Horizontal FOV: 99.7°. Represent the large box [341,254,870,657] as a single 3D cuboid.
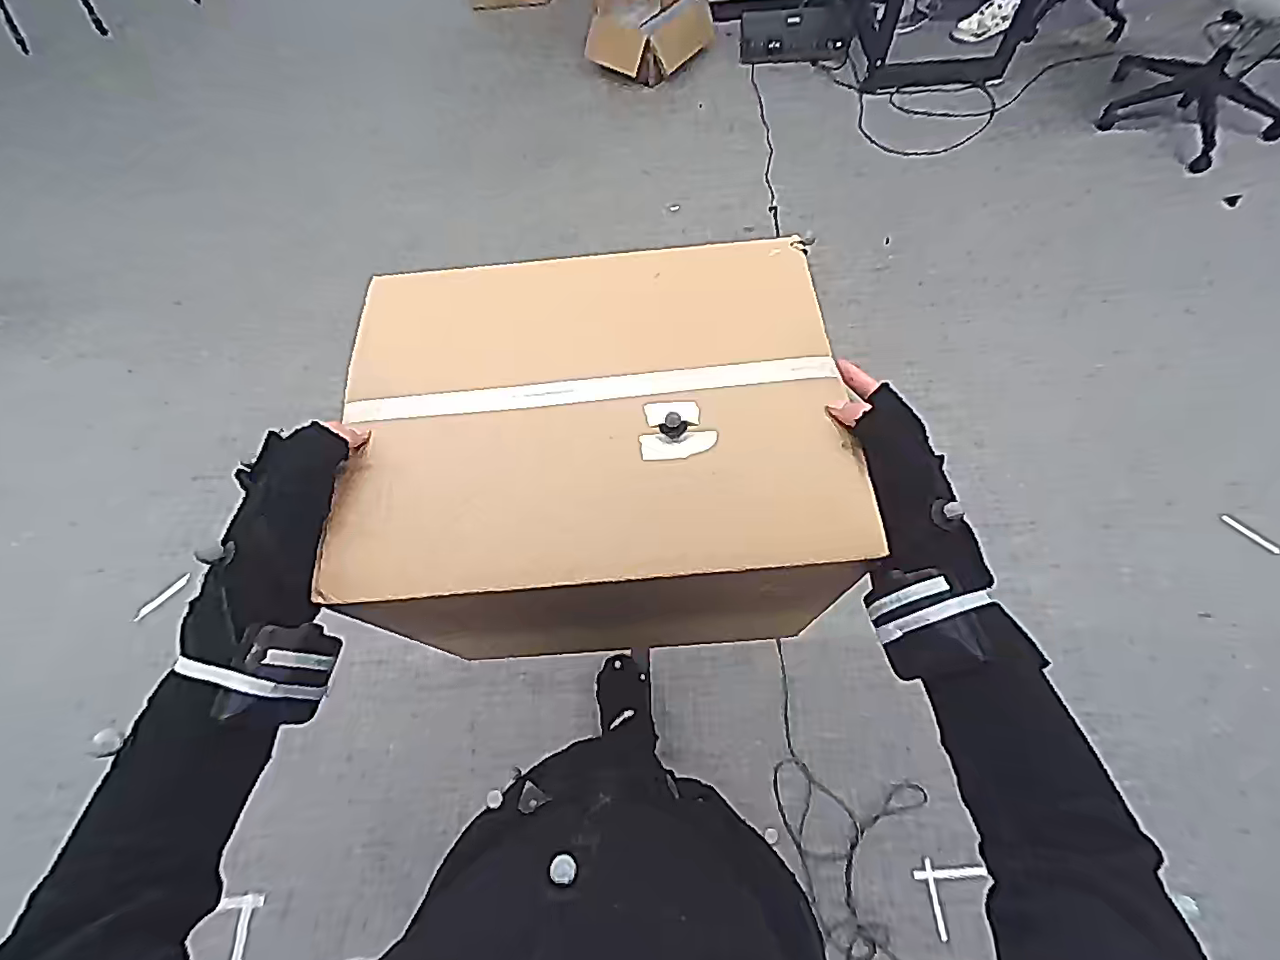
[{"bbox_3d":[-0.031,-0.002,0.597,0.408,0.320,0.320,-5,64,1],"label":"large box"}]
